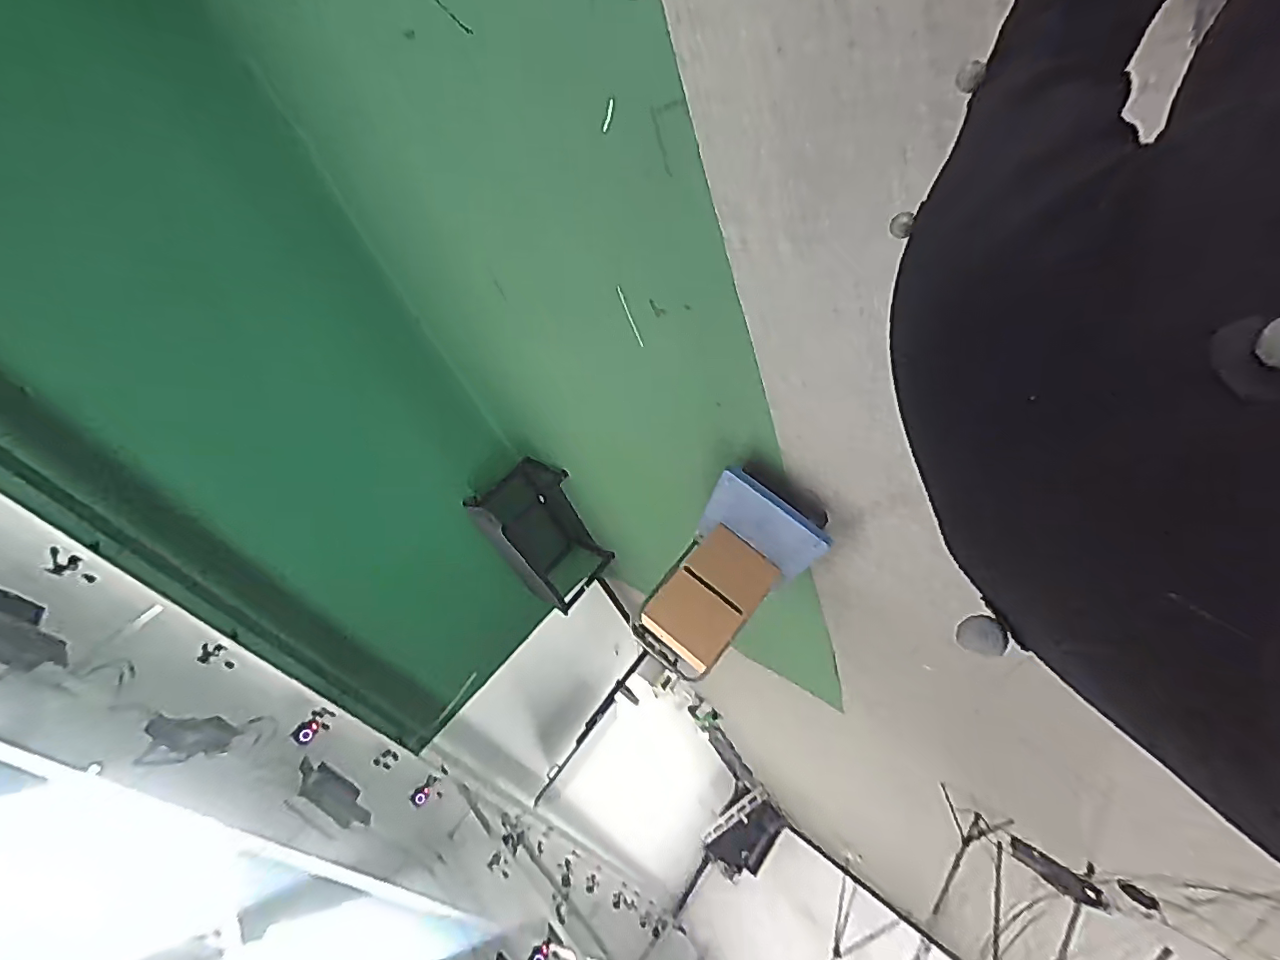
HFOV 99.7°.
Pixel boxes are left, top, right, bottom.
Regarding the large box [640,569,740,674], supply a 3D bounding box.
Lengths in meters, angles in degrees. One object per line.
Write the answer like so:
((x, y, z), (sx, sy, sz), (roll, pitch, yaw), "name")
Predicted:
((0.251, 0.728, 2.773), (0.408, 0.320, 0.320), (38, 160, 16), "large box")
